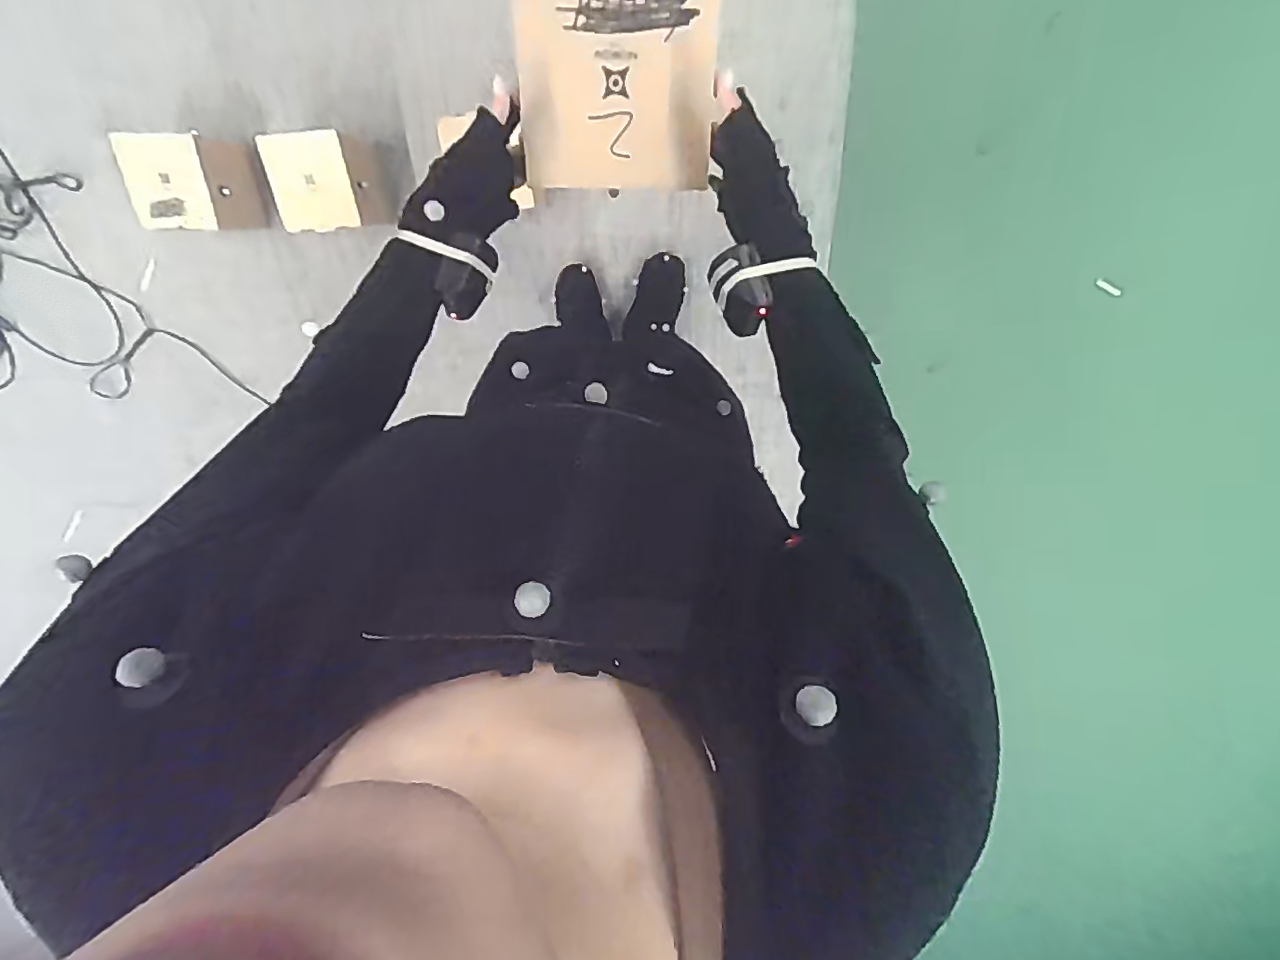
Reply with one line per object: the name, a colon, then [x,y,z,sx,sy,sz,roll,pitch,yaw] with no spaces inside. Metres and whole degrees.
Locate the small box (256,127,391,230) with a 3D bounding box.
small box: [-0.668,-0.641,1.164,0.168,0.176,0.179,-4,117,2]

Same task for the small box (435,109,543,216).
small box: [-0.310,-0.668,1.150,0.168,0.176,0.179,-6,116,2]

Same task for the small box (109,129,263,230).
small box: [-0.959,-0.638,1.164,0.168,0.176,0.179,1,115,-1]
